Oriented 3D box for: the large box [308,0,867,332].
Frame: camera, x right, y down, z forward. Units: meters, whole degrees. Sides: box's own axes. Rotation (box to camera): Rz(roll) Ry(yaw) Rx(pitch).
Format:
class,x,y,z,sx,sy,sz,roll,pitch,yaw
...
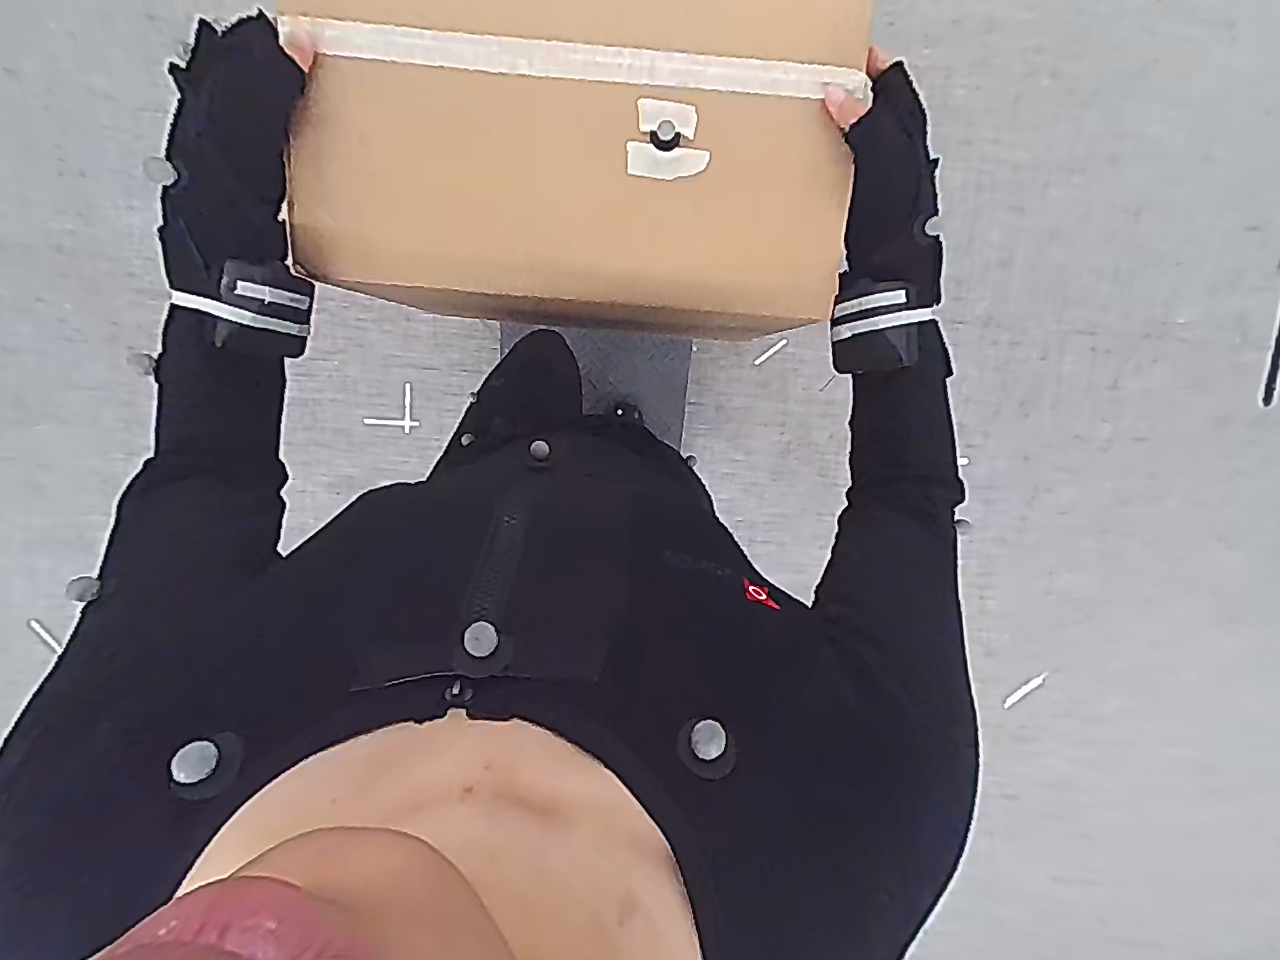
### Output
class,x,y,z,sx,sy,sz,roll,pitch,yaw
large box,-0.044,-0.328,0.538,0.408,0.320,0.320,4,102,-2
